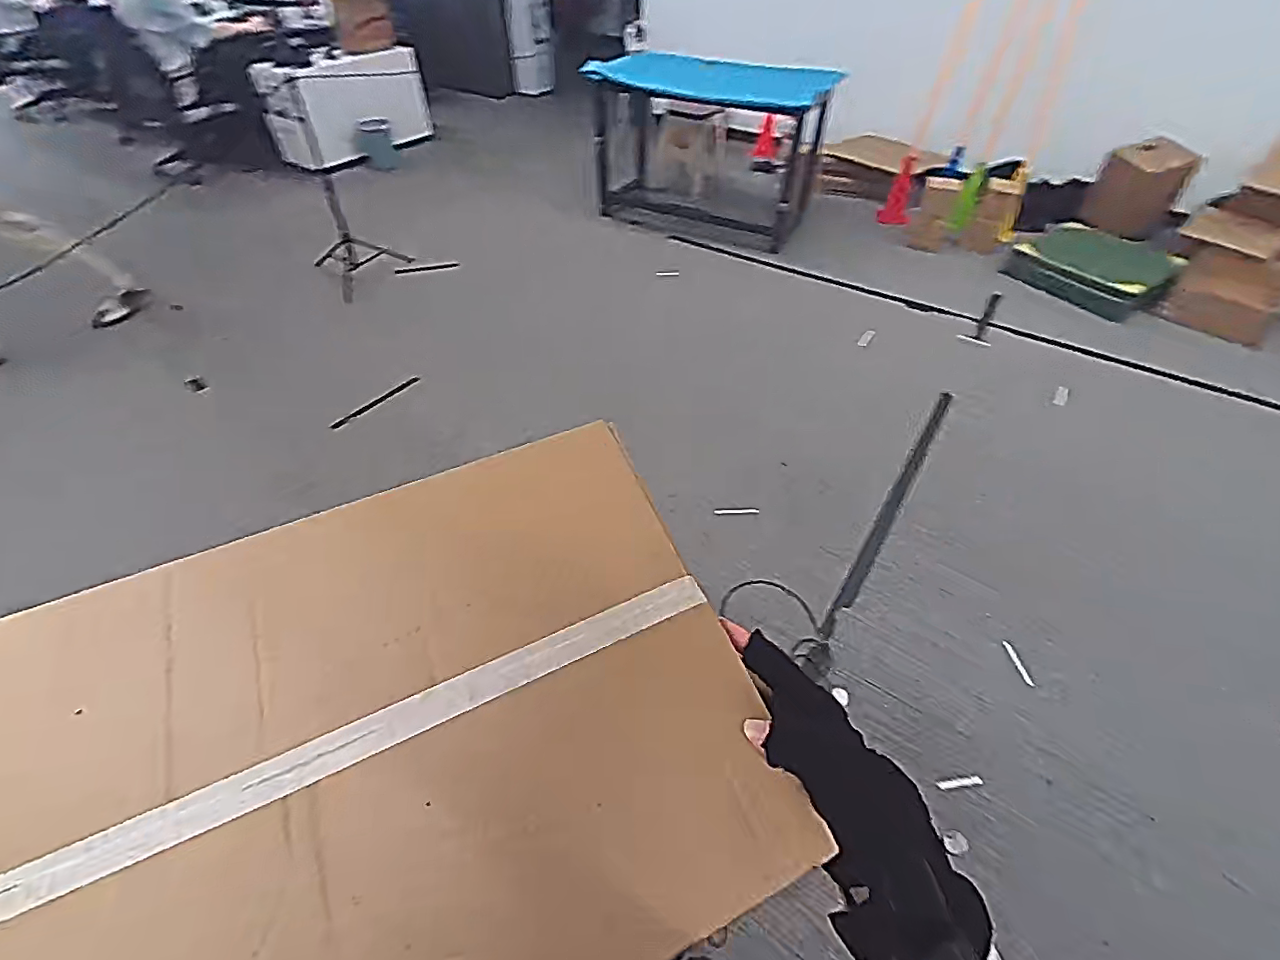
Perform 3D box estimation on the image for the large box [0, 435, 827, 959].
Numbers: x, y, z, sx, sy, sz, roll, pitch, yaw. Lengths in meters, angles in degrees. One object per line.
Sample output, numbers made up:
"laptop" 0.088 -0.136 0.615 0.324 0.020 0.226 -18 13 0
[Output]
"large box" -0.140 0.224 0.439 0.408 0.320 0.320 -20 60 -14
